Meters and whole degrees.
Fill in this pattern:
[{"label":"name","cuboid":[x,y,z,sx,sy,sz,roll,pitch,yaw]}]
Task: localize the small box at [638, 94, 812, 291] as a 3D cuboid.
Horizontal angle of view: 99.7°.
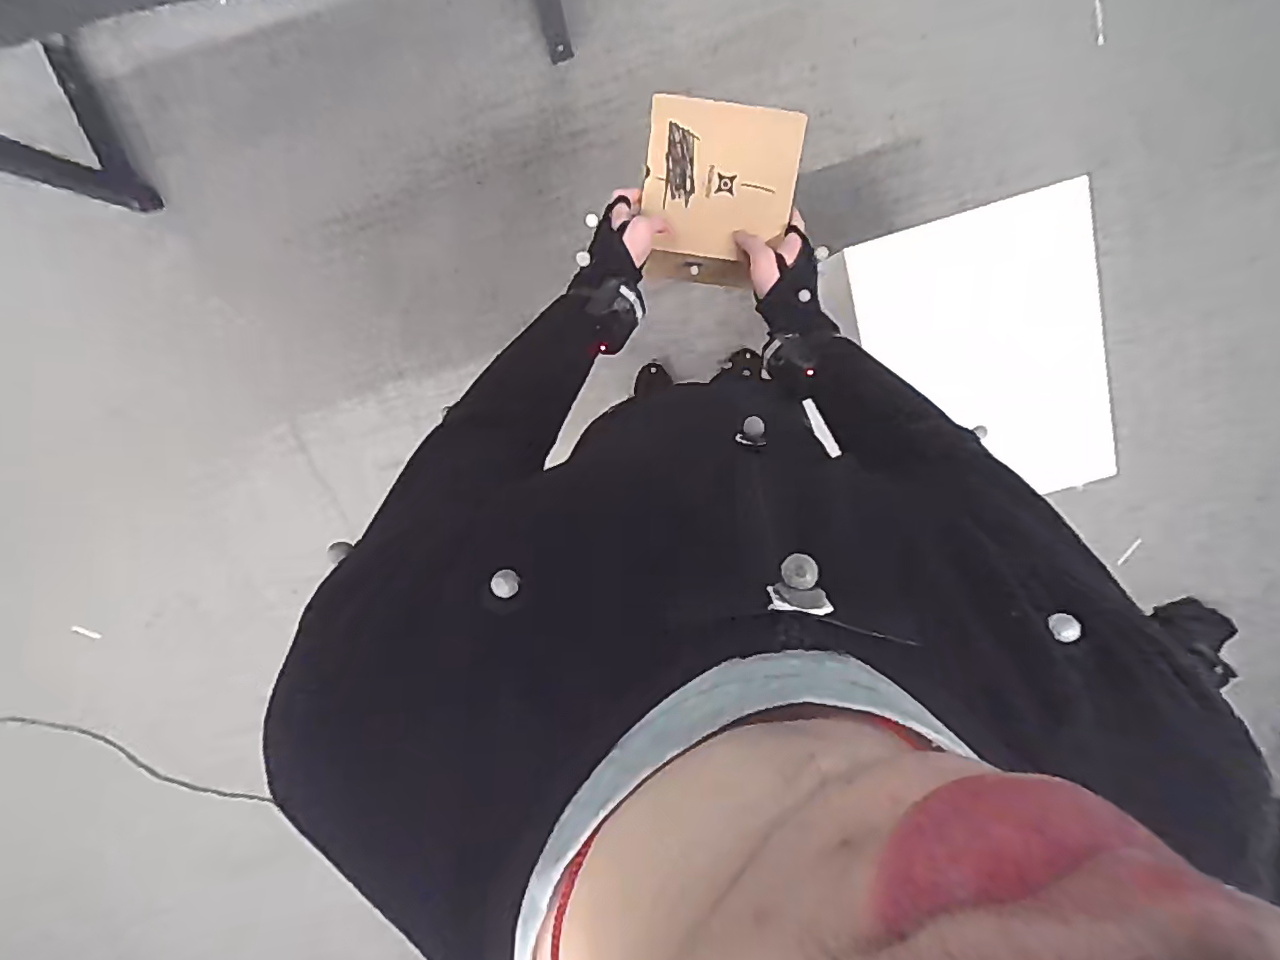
[{"label":"small box","cuboid":[0.092,-0.342,0.676,0.179,0.176,0.168,6,100,-2]}]
